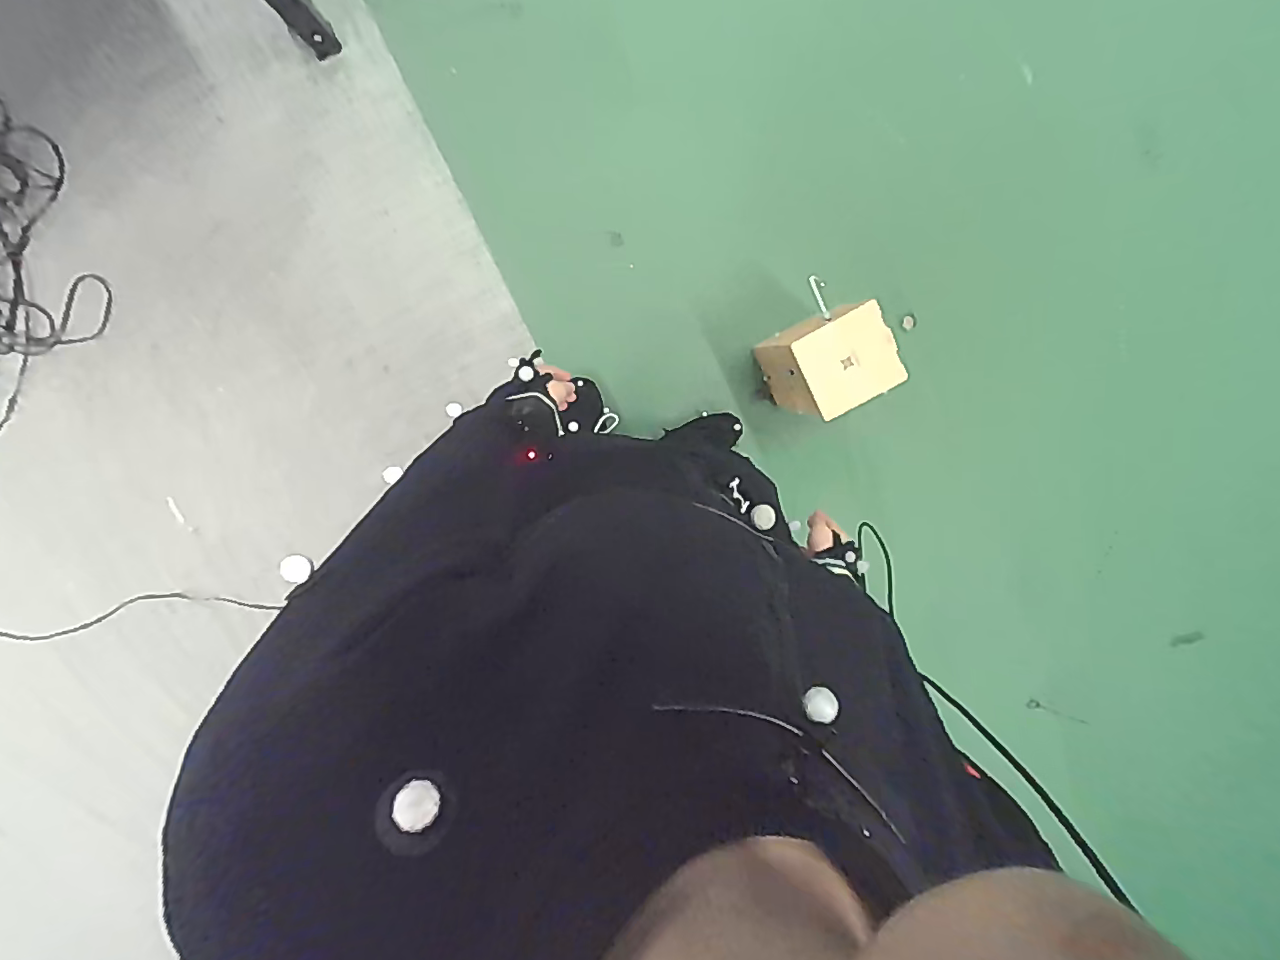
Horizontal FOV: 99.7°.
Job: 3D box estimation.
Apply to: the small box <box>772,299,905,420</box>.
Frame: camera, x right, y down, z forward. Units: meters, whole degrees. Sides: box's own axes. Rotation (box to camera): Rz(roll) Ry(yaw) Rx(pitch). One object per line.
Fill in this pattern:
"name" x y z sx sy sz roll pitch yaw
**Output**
"small box" 0.381 -0.237 1.078 0.179 0.176 0.168 -29 102 4
